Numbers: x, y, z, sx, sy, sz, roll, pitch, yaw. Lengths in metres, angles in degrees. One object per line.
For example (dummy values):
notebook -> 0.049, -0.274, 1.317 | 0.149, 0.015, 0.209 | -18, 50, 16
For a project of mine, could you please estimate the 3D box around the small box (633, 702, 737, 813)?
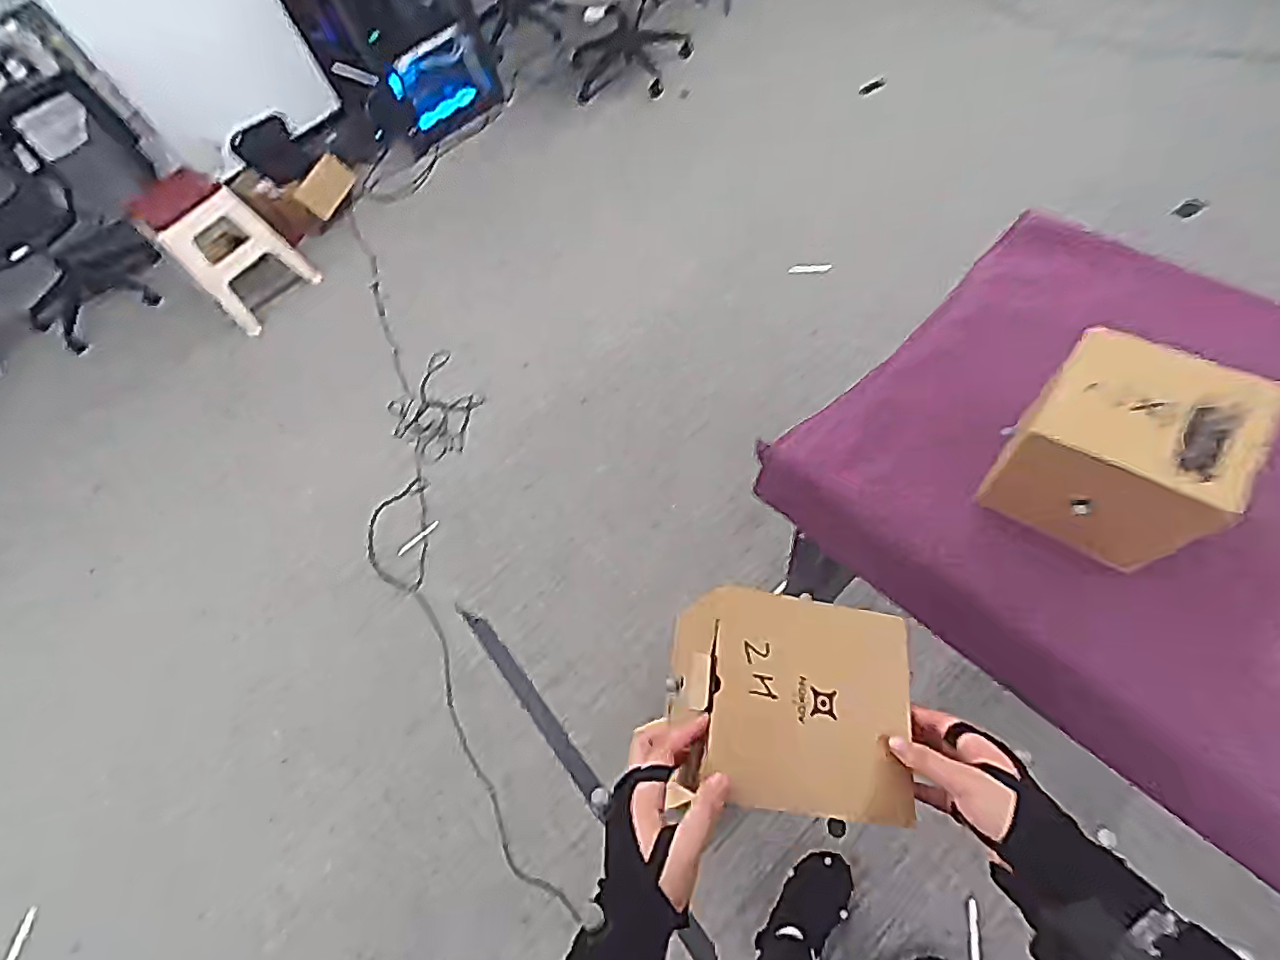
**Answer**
small box -> 0.104, 0.612, 1.193 | 0.179, 0.176, 0.168 | -22, 60, -2
